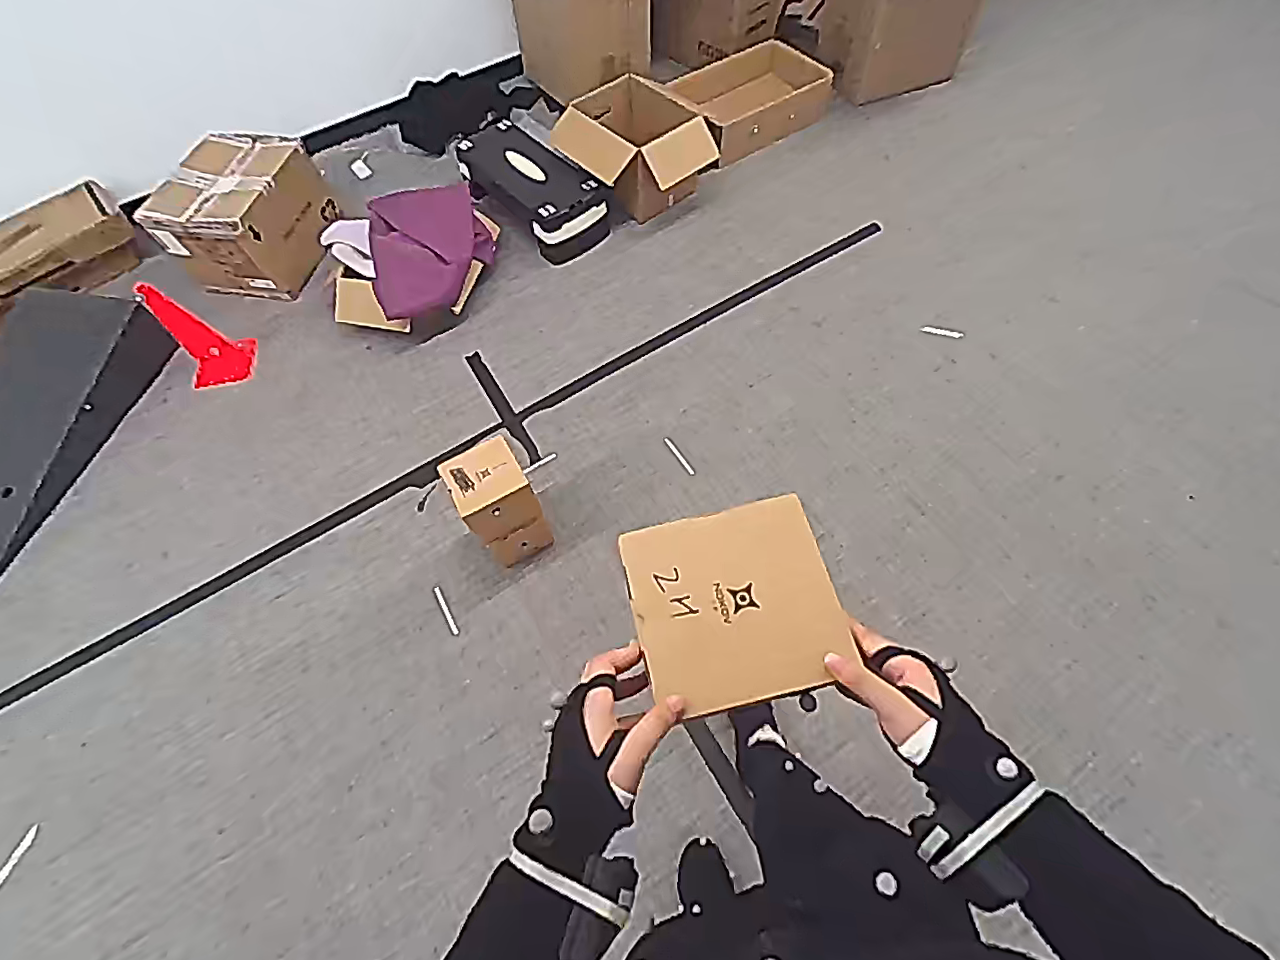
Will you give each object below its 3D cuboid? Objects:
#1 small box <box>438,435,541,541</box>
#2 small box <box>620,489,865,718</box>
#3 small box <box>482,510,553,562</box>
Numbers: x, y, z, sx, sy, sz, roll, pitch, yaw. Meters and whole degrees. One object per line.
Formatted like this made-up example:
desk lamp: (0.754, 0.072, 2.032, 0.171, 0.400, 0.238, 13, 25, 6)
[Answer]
small box: (-0.370, 0.025, 1.352, 0.179, 0.176, 0.168, -29, 64, -12)
small box: (0.086, 0.130, 0.536, 0.179, 0.176, 0.168, -13, 65, -2)
small box: (-0.359, 0.108, 1.495, 0.168, 0.176, 0.179, -29, 65, -11)
